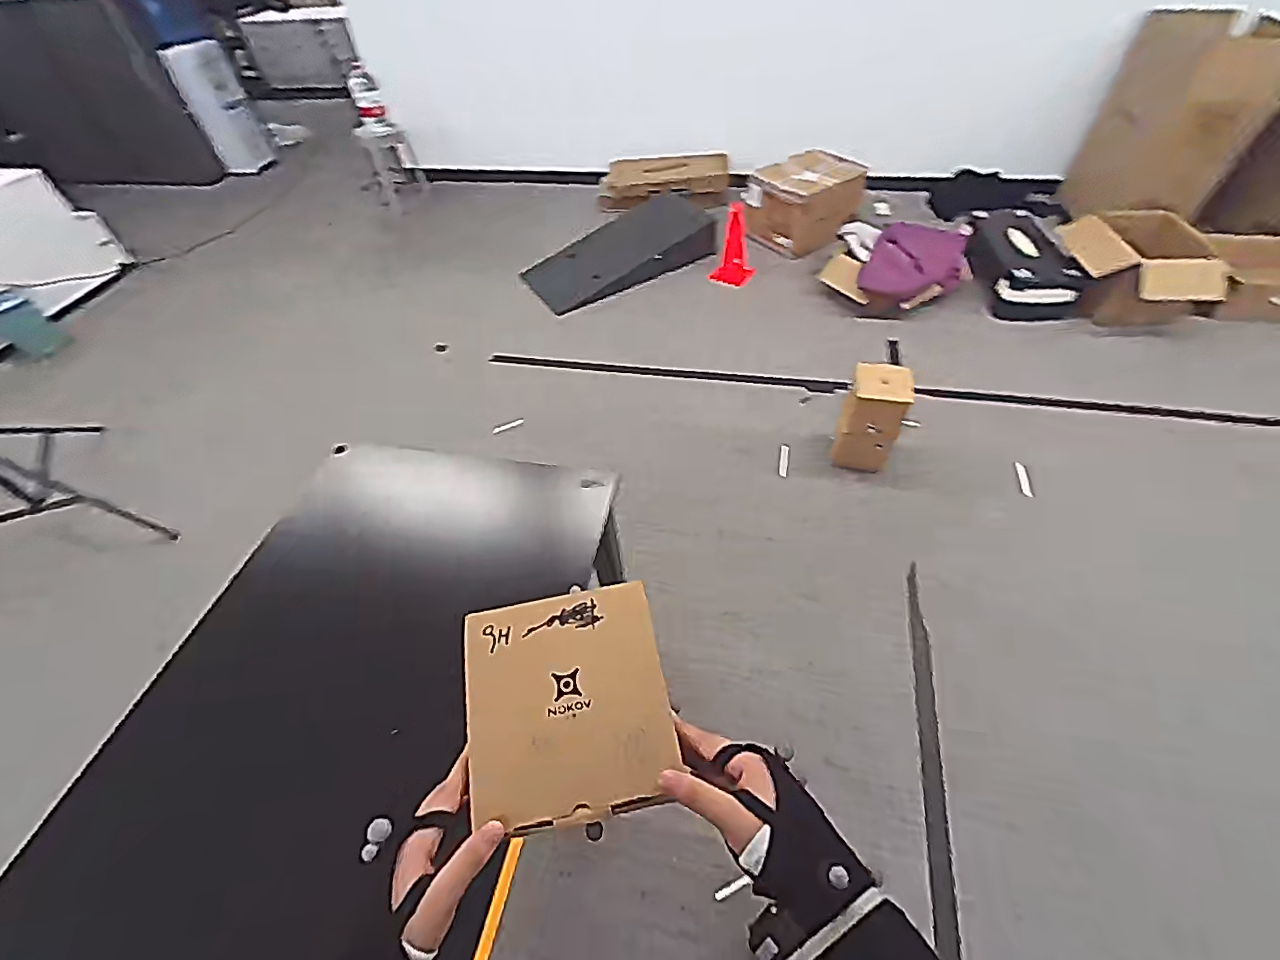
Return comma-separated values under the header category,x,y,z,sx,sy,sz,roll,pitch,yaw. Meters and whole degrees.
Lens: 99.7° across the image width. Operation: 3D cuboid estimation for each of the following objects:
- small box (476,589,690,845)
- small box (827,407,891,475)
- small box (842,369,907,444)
category,x,y,z,sx,sy,sz,roll,pitch,yaw
small box,-0.051,0.228,0.522,0.168,0.176,0.179,-11,59,-5
small box,0.775,-0.136,1.921,0.179,0.176,0.168,8,50,12
small box,0.773,-0.244,1.799,0.168,0.176,0.179,6,51,12
